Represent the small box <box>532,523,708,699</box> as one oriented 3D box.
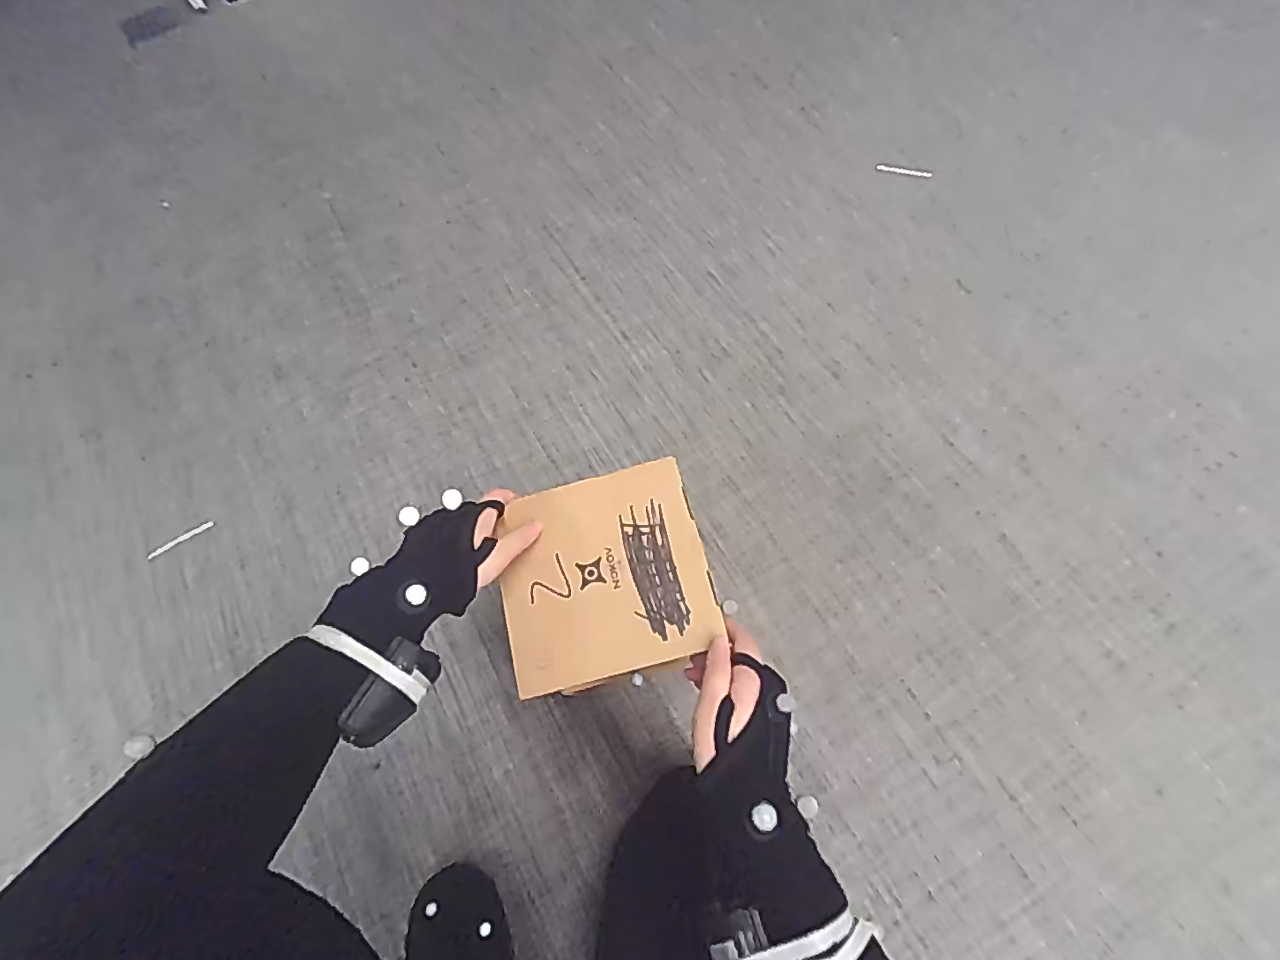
[{"bbox_3d":[-0.020,0.174,0.686,0.179,0.176,0.168,-15,68,-2],"label":"small box"}]
